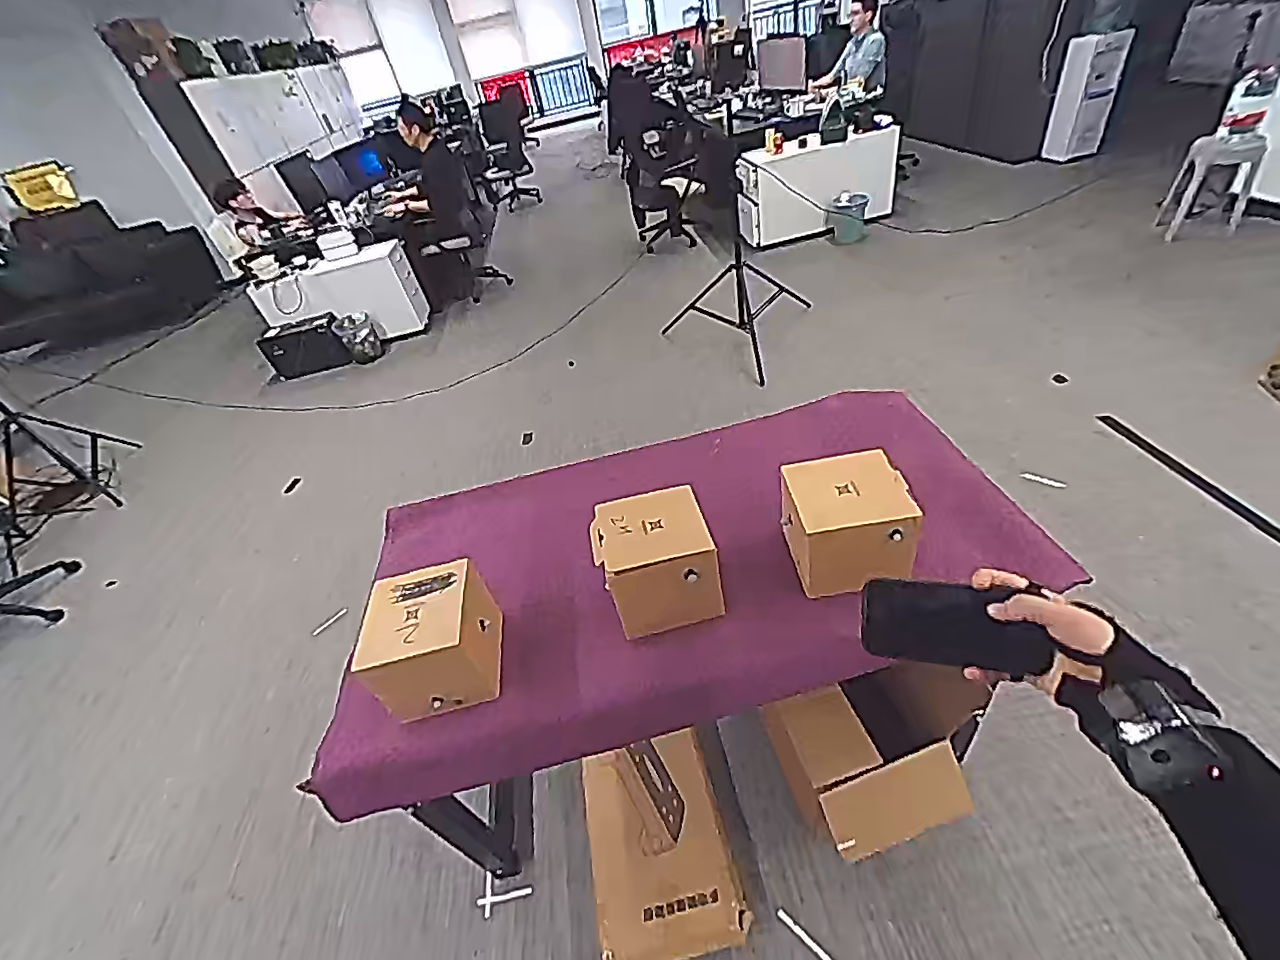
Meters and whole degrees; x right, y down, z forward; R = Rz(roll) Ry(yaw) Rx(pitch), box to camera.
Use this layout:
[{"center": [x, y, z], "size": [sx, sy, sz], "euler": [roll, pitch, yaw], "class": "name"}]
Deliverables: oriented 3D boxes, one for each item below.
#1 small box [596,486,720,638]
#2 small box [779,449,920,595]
[{"center": [0.033, 0.142, 0.931], "size": [0.179, 0.176, 0.168], "euler": [-15, 37, -1], "class": "small box"}, {"center": [0.345, 0.075, 0.918], "size": [0.179, 0.176, 0.168], "euler": [-10, 40, 4], "class": "small box"}]
